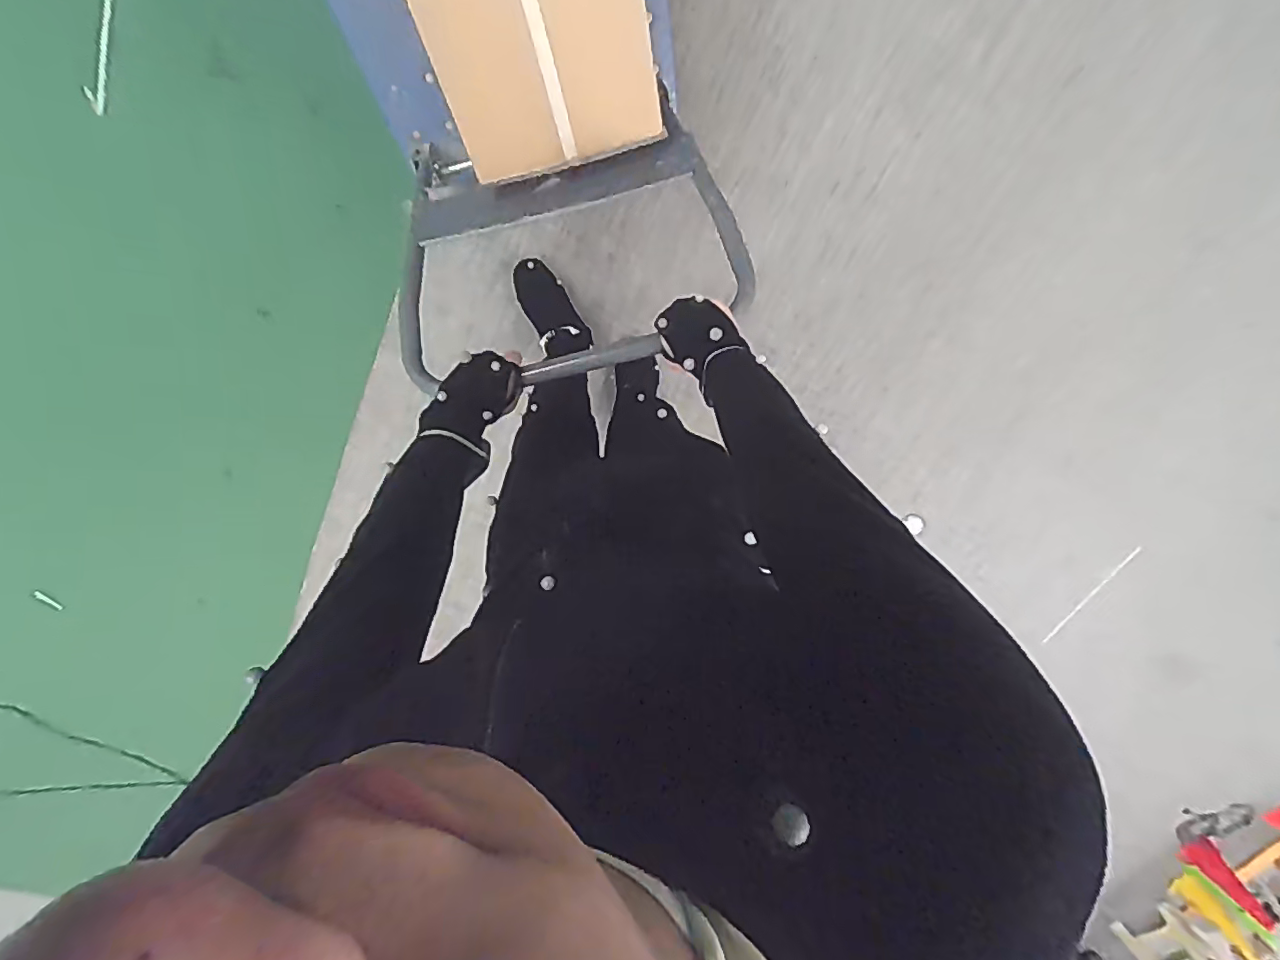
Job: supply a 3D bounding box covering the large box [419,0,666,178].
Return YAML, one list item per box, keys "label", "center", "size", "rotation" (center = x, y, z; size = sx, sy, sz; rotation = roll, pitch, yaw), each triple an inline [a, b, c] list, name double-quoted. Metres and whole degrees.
- label: "large box"
  center: [-0.162, -0.772, 0.844]
  size: [0.320, 0.320, 0.408]
  rotation: [-13, 140, 3]
